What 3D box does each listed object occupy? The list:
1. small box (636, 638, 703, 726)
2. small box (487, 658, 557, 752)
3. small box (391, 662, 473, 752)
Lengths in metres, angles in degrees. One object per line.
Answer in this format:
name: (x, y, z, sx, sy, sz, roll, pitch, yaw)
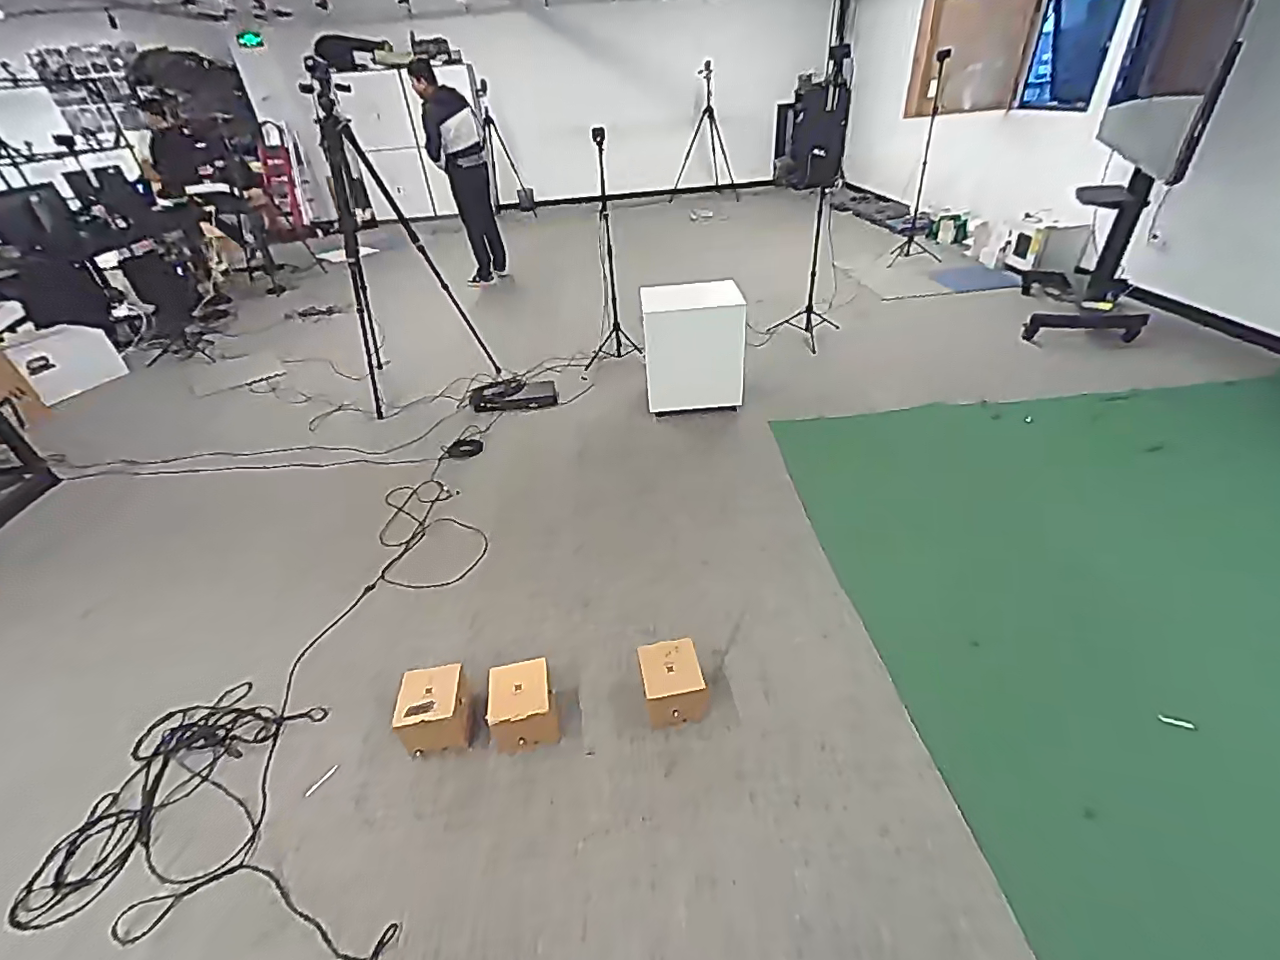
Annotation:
small box: (0.086, 0.596, 1.580, 0.168, 0.176, 0.179, -8, 37, -7)
small box: (-0.337, 0.646, 1.556, 0.168, 0.176, 0.179, -9, 38, -6)
small box: (-0.592, 0.660, 1.560, 0.168, 0.176, 0.179, -7, 36, -4)
